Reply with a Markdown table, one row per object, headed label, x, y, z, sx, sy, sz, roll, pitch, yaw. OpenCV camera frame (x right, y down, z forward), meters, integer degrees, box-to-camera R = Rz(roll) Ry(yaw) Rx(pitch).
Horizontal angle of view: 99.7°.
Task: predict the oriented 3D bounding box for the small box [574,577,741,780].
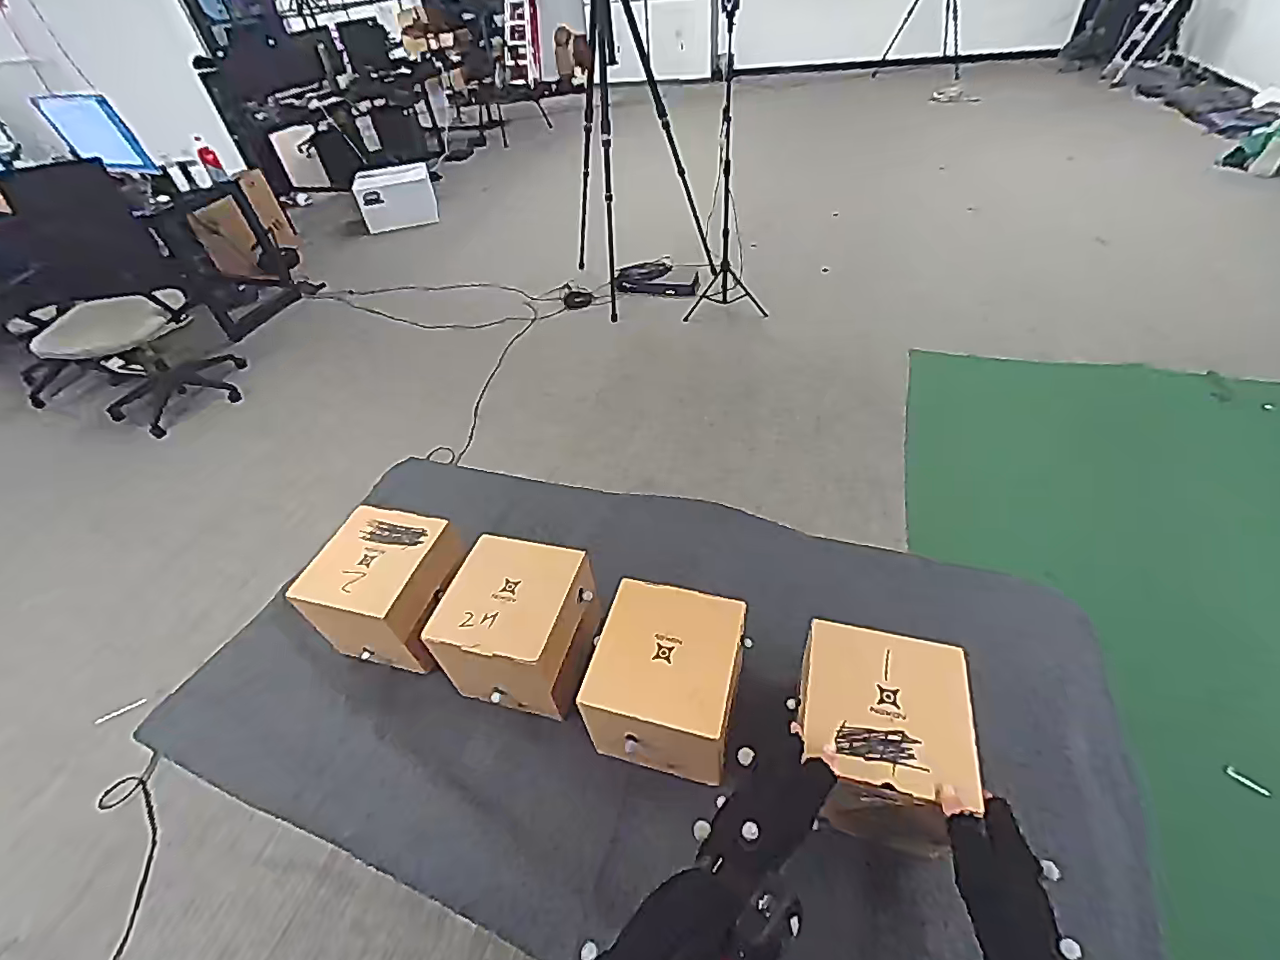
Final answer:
| label | x | y | z | sx | sy | sz | roll | pitch | yaw |
| --- | --- | --- | --- | --- | --- | --- | --- | --- | --- |
| small box | 0.034 | 0.256 | 0.698 | 0.168 | 0.176 | 0.179 | 9 | 46 | 15 |

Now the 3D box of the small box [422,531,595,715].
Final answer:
| label | x | y | z | sx | sy | sz | roll | pitch | yaw |
| --- | --- | --- | --- | --- | --- | --- | --- | --- | --- |
| small box | -0.171 | 0.203 | 0.774 | 0.168 | 0.176 | 0.179 | 8 | 46 | 15 |
